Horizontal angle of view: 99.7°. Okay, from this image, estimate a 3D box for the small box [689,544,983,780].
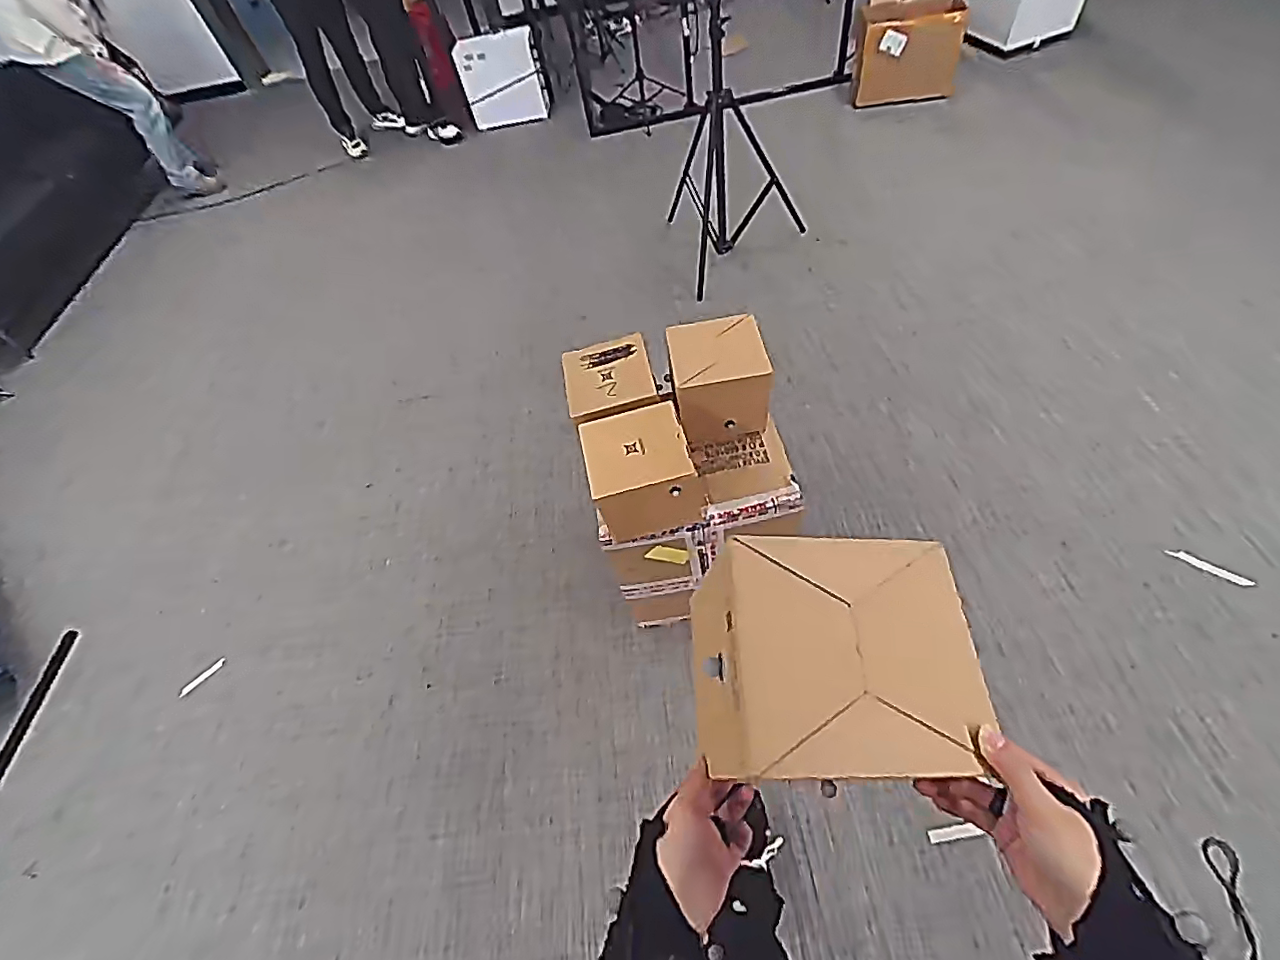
[{"bbox_3d":[0.147,0.162,0.465,0.179,0.176,0.168,3,60,-6],"label":"small box"}]
